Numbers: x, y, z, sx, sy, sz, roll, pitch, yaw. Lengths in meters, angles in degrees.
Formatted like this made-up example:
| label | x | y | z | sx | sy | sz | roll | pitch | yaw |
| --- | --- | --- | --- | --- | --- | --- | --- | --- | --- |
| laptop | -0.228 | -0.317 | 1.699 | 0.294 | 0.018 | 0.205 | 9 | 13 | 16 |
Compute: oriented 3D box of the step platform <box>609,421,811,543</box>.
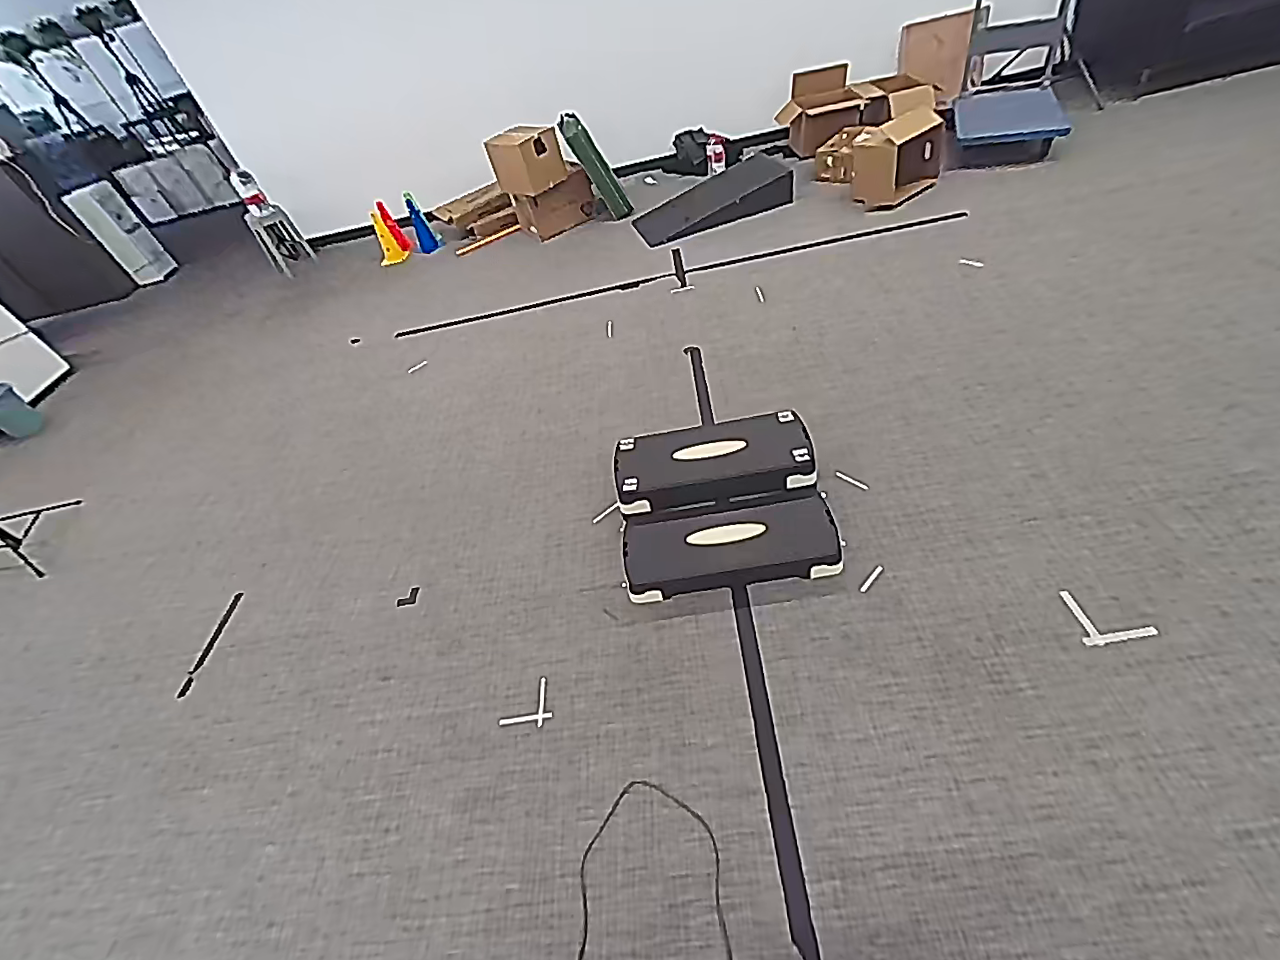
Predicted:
| label | x | y | z | sx | sy | sz | roll | pitch | yaw |
| --- | --- | --- | --- | --- | --- | --- | --- | --- | --- |
| step platform | 0.233 | 0.002 | 1.879 | 0.684 | 0.204 | 0.286 | -10 | 46 | 4 |
